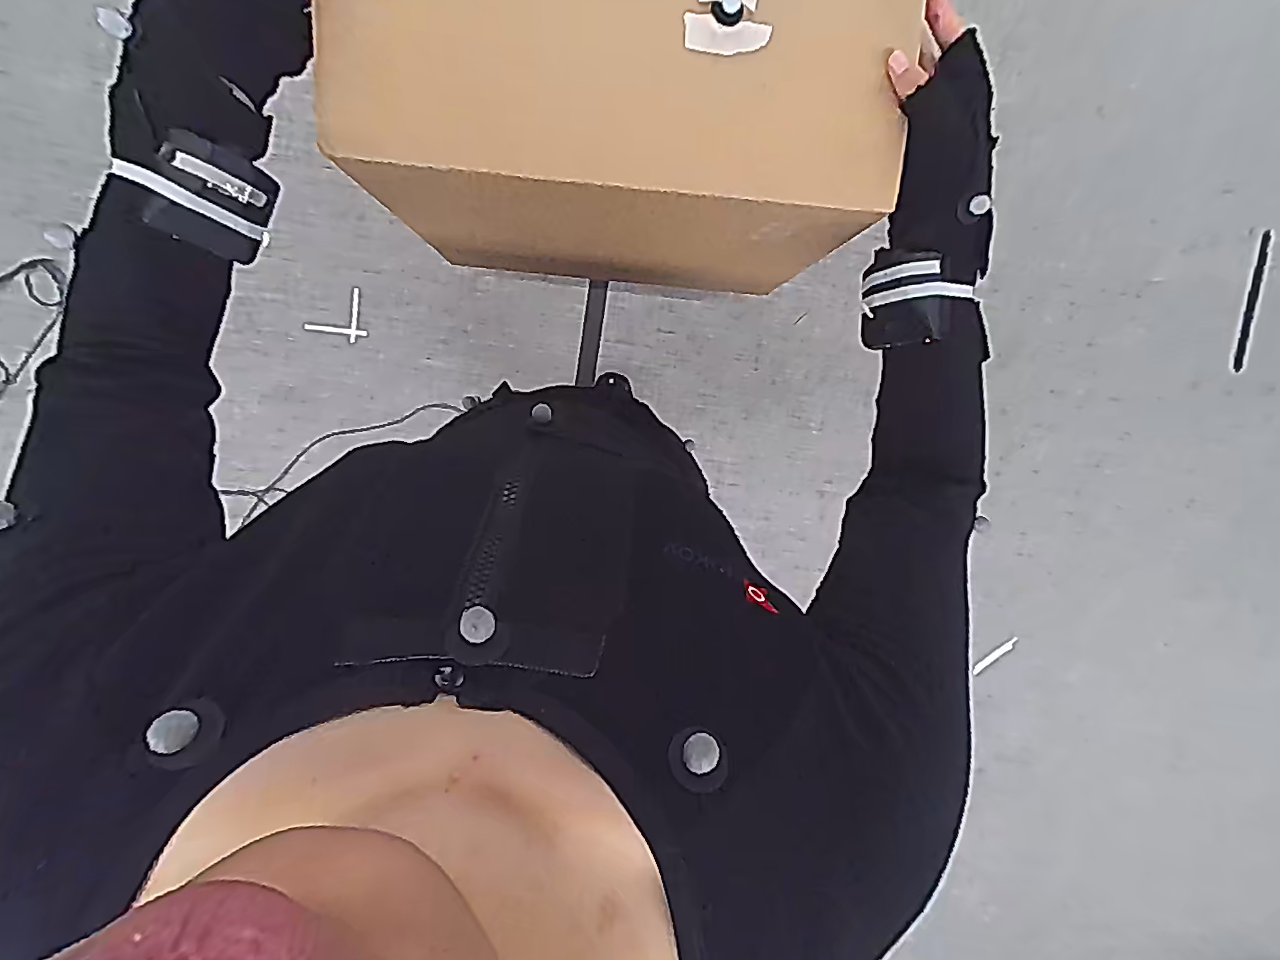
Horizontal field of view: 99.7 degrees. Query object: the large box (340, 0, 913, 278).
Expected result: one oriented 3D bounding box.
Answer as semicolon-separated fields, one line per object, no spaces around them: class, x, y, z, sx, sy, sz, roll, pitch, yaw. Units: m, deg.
large box;-0.012;-0.396;0.515;0.408;0.320;0.320;3;99;-5
